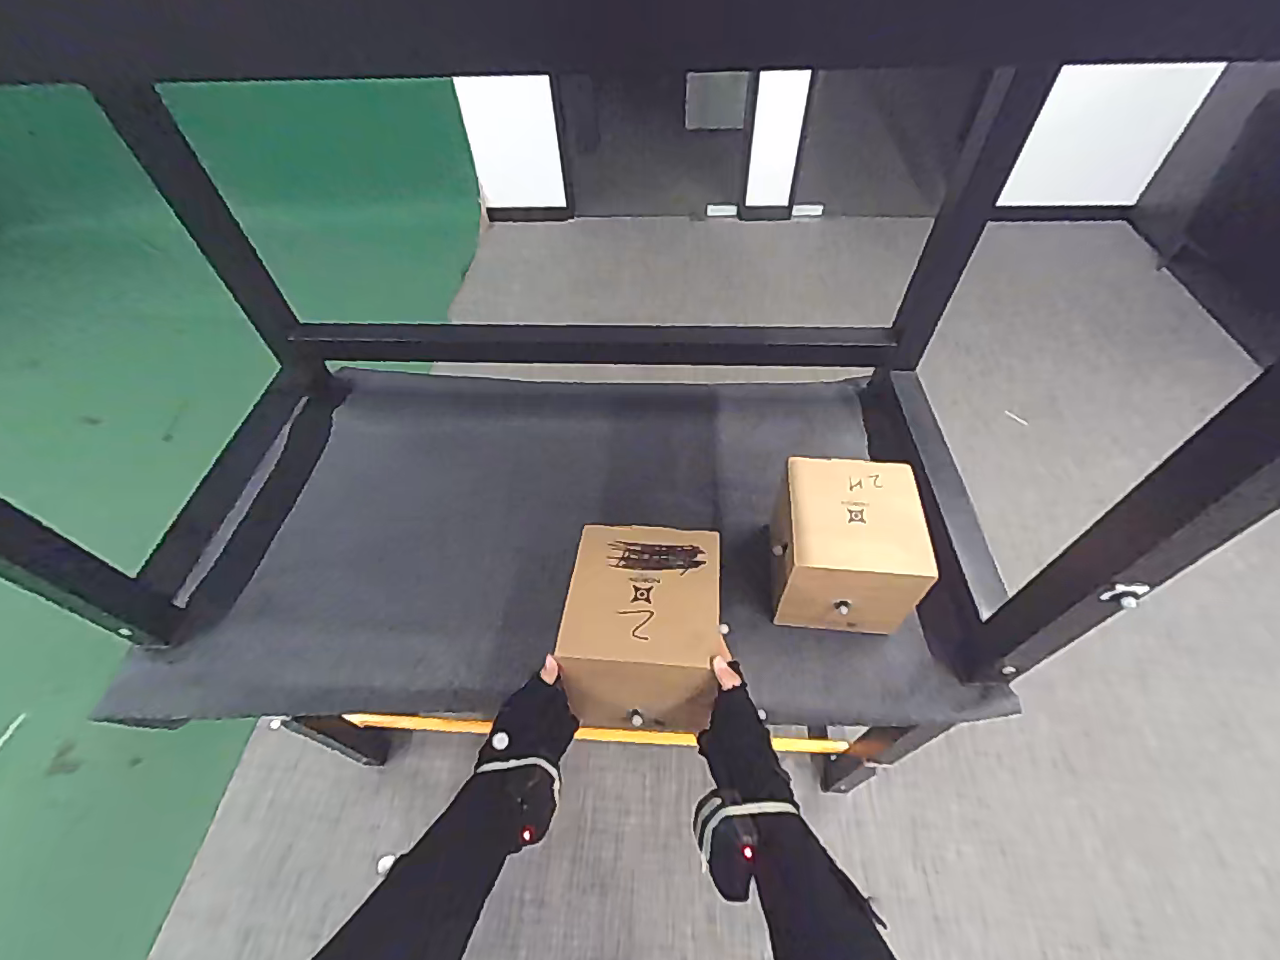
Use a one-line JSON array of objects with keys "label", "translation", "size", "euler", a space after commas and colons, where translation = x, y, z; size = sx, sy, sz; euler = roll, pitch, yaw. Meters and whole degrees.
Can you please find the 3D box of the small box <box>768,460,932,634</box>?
[{"label": "small box", "translation": [0.273, 0.096, 0.747], "size": [0.168, 0.176, 0.179], "euler": [5, 51, 6]}]
